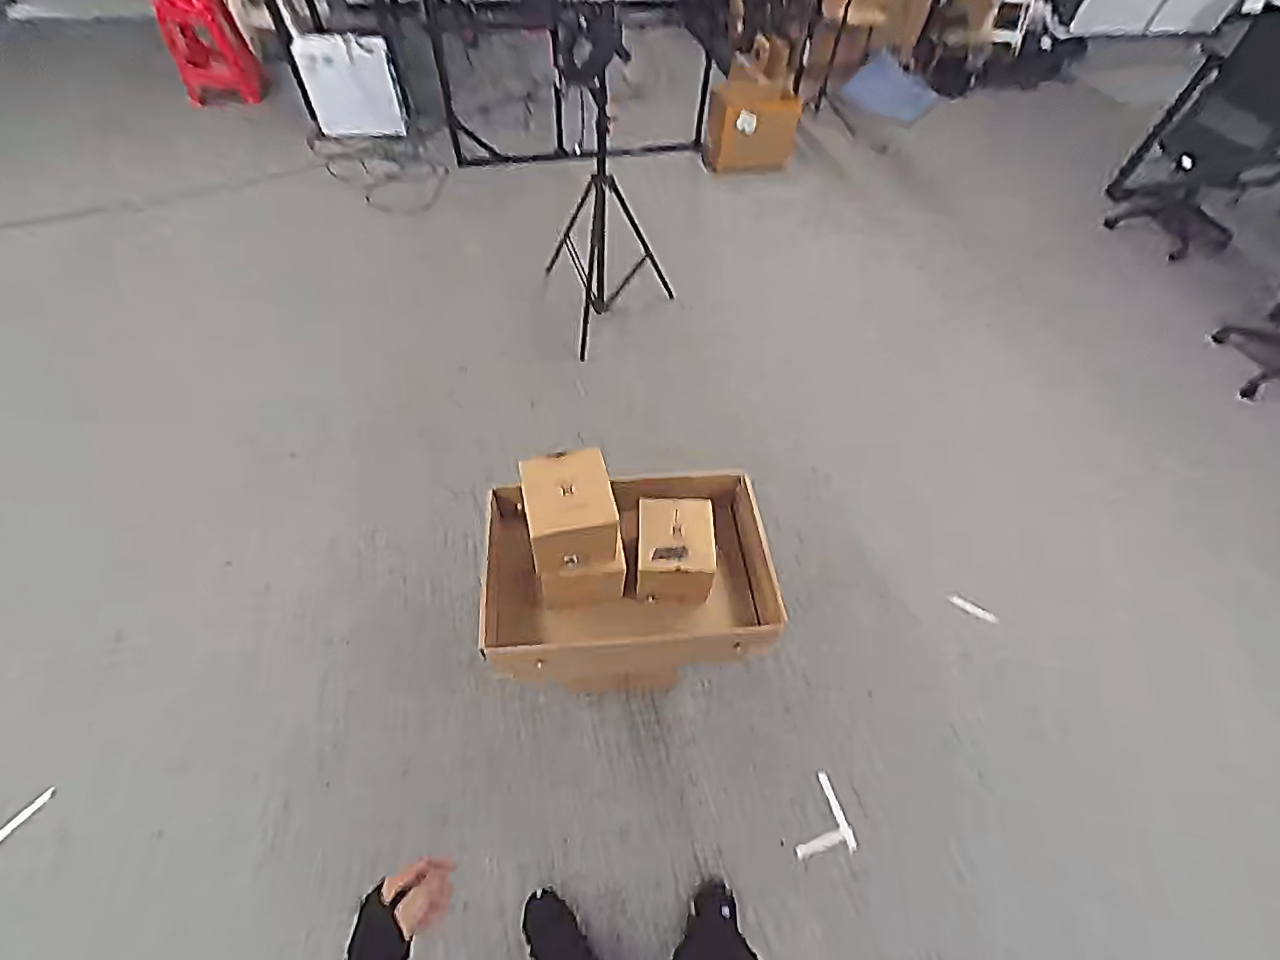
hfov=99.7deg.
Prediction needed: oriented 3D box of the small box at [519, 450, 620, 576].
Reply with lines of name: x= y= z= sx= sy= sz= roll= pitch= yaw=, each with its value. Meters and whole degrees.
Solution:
small box: x=-0.142 y=0.067 z=1.080 sx=0.168 sy=0.176 sz=0.179 roll=-10 pitch=57 yaw=-12
